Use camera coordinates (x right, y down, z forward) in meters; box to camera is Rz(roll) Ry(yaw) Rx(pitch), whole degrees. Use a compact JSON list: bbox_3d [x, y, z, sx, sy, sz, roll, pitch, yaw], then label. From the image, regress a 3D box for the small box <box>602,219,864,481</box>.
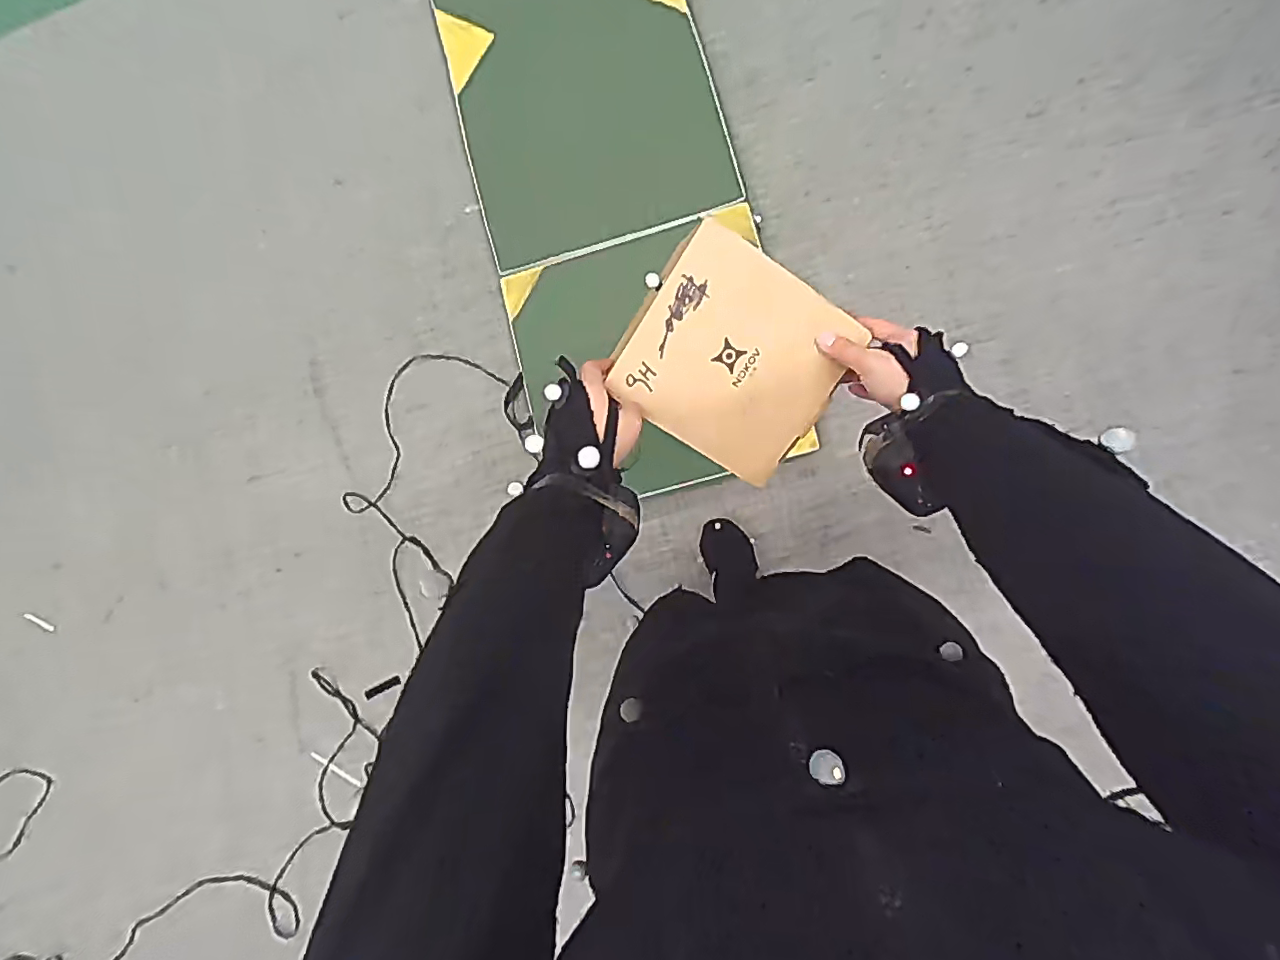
[{"bbox_3d":[0.078,-0.130,0.546,0.179,0.176,0.168,31,104,-11],"label":"small box"}]
